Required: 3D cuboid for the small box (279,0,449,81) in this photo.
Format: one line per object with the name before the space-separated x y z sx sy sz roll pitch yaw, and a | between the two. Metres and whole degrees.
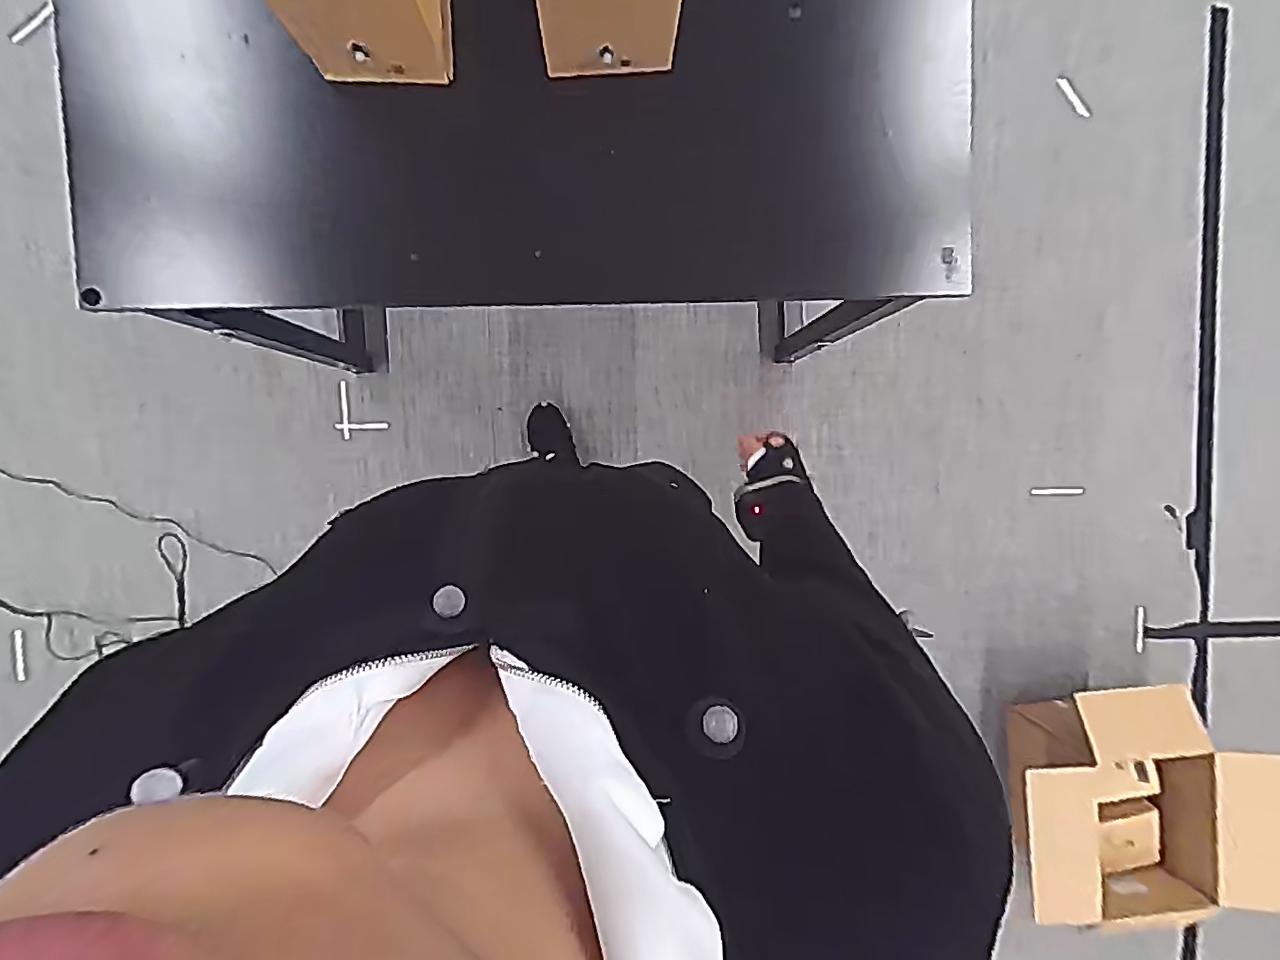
small box | -0.329 -0.612 0.627 0.168 0.176 0.179 -1 94 -3
